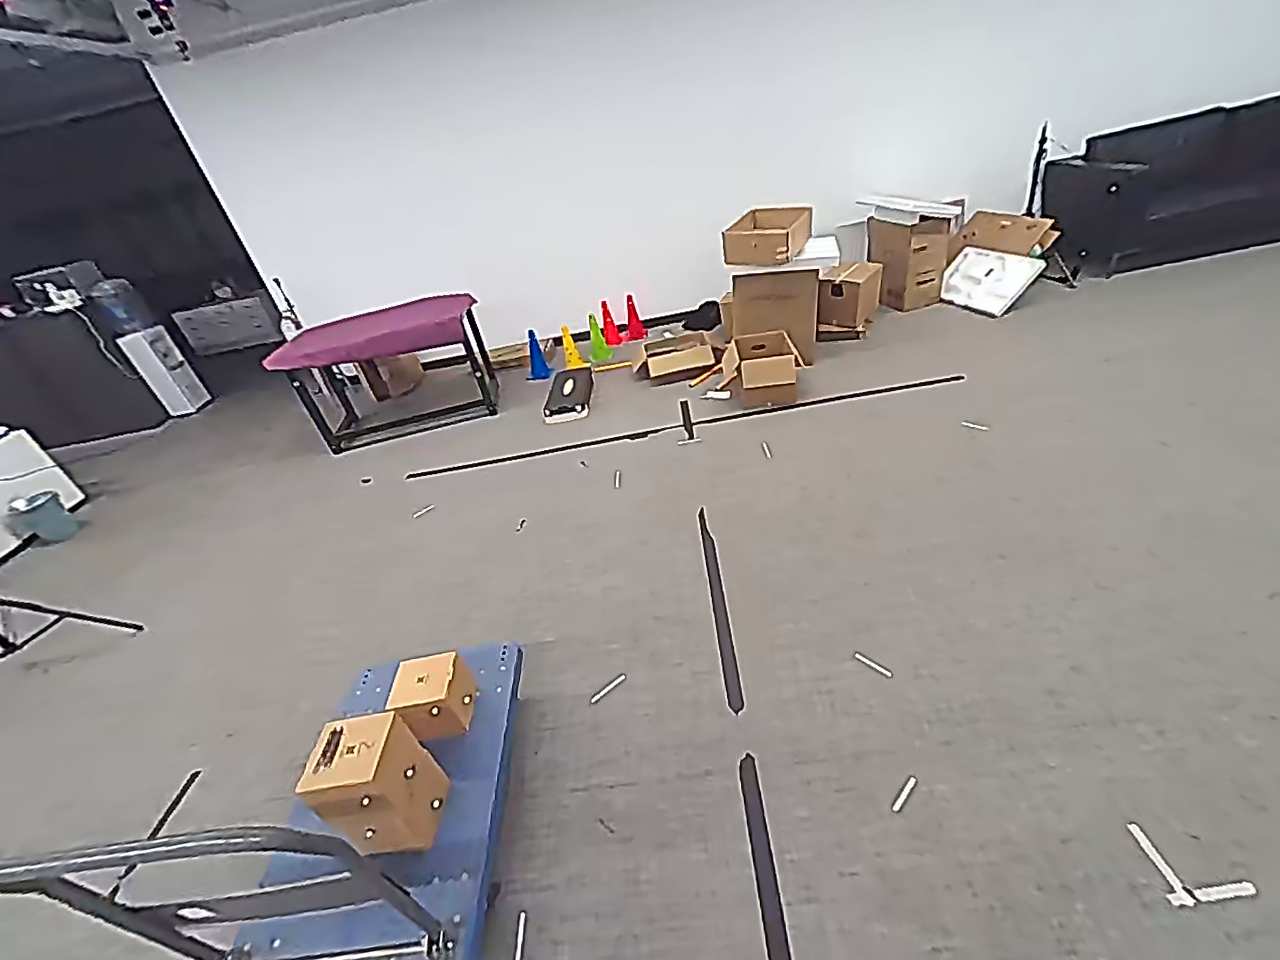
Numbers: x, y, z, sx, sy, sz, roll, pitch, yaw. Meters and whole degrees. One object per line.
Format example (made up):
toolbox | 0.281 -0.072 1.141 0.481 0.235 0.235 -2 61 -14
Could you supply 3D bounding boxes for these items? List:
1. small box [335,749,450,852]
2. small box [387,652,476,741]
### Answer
small box | -0.605 0.801 1.346 0.179 0.176 0.168 -8 34 6
small box | -0.606 0.640 1.593 0.179 0.176 0.168 -12 33 1
